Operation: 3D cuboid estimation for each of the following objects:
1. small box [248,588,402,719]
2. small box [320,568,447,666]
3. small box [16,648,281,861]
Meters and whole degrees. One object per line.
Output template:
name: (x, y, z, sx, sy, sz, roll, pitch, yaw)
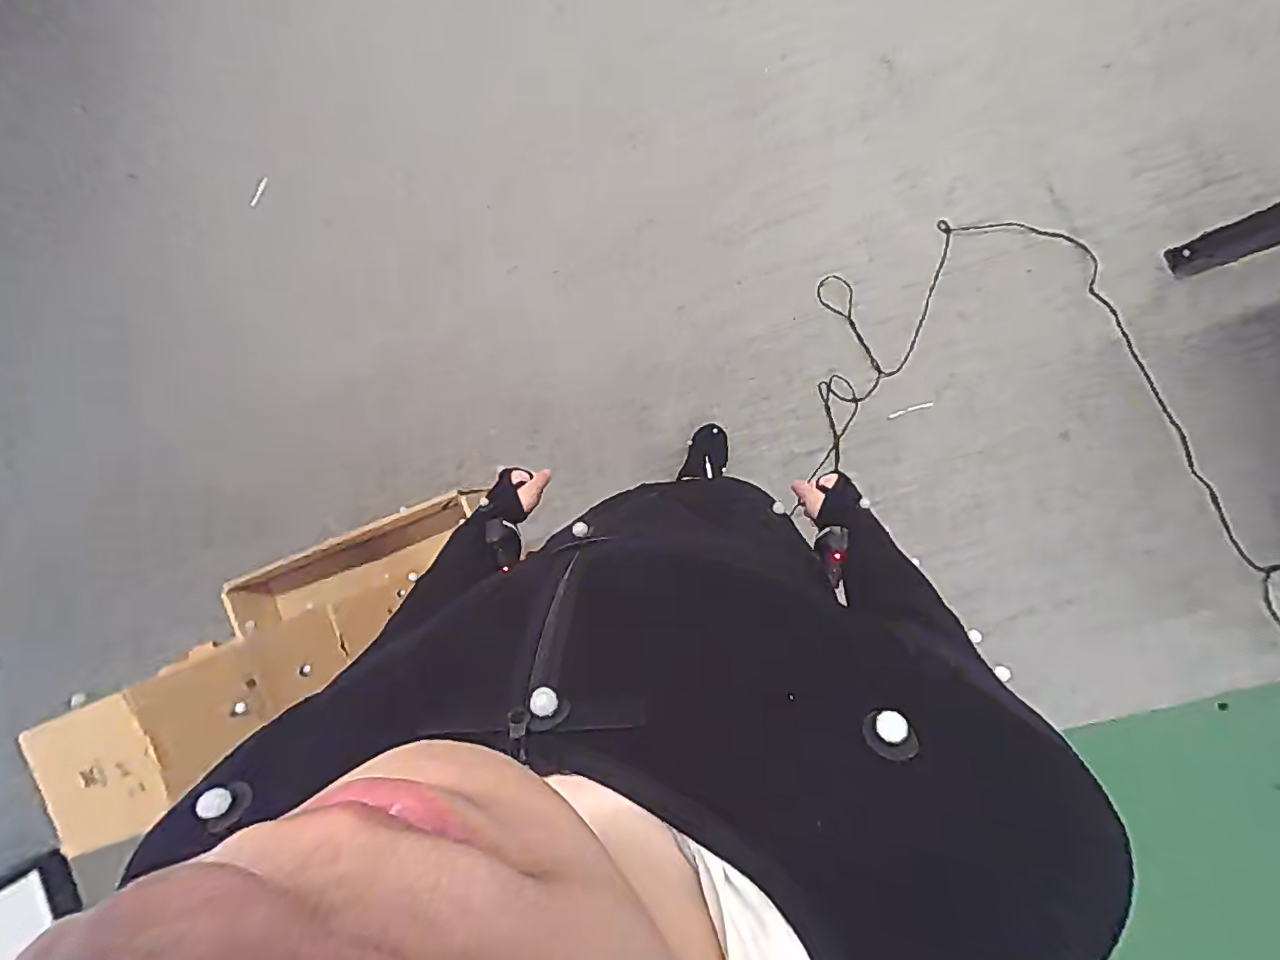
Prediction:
small box: (-0.591, 0.325, 1.044, 0.179, 0.176, 0.168, -21, 90, 9)
small box: (-0.563, 0.316, 1.206, 0.168, 0.176, 0.179, -22, 89, 9)
small box: (-0.635, 0.350, 0.719, 0.179, 0.176, 0.168, -22, 90, 9)
